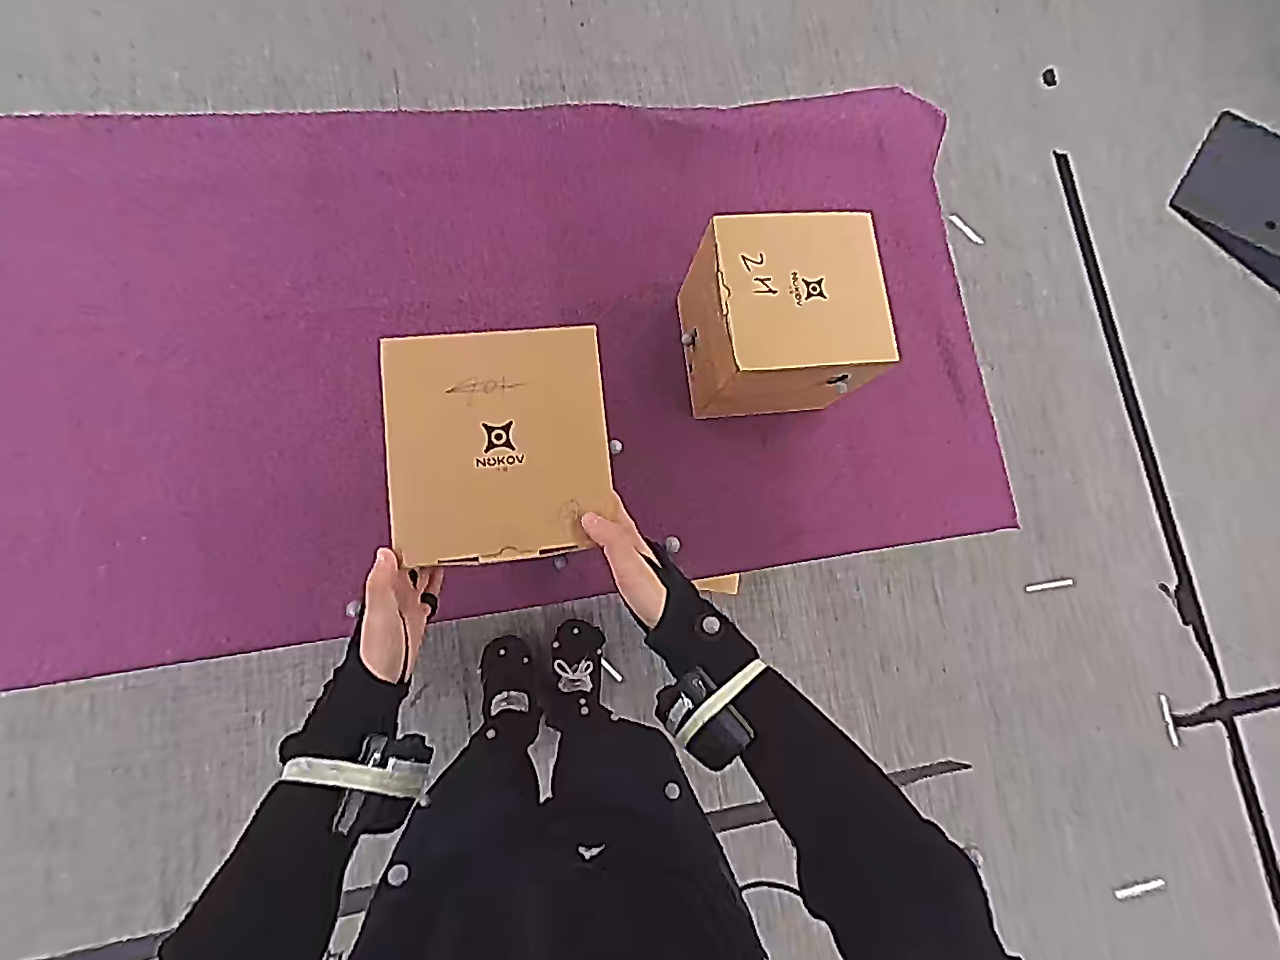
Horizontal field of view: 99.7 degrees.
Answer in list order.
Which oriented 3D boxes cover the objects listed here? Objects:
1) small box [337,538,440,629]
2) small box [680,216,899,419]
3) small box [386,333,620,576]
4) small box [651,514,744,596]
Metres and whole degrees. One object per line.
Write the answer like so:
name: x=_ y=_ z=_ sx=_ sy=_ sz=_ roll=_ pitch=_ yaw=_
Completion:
small box: x=-0.548 y=0.222 z=1.197 sx=0.168 sy=0.176 sz=0.179 roll=-6 pitch=81 yaw=-10
small box: x=0.156 y=-0.175 z=0.618 sx=0.179 sy=0.176 sz=0.168 roll=-6 pitch=81 yaw=-9
small box: x=-0.112 y=-0.014 z=0.488 sx=0.168 sy=0.176 sz=0.179 roll=-6 pitch=83 yaw=-8
small box: x=0.133 y=0.180 z=1.306 sx=0.179 sy=0.176 sz=0.168 roll=9 pitch=80 yaw=-6
